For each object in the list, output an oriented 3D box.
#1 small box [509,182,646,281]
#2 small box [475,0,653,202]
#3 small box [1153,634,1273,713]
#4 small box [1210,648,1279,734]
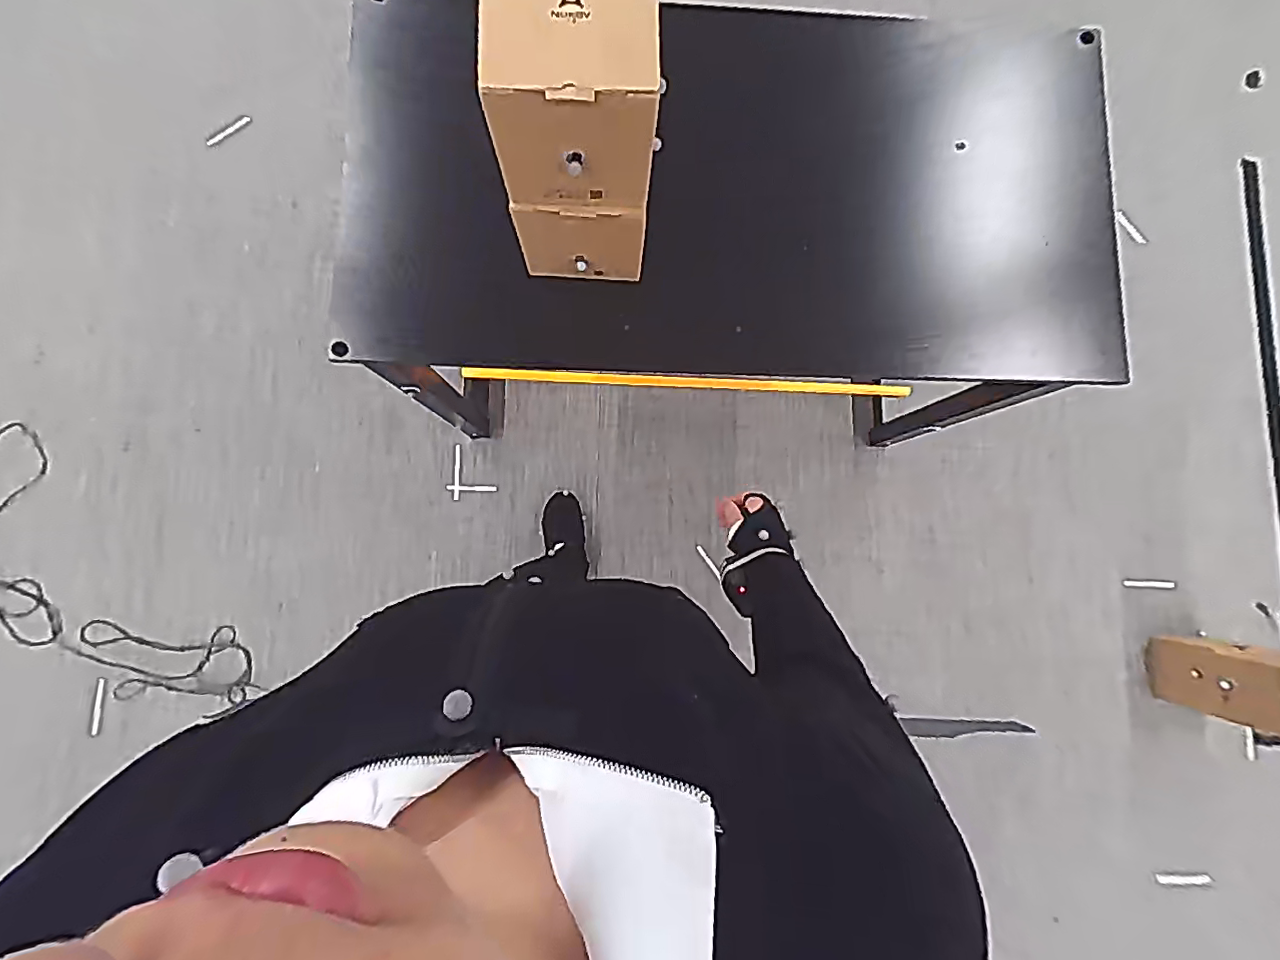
[{"bbox_3d":[-0.077,-0.398,0.740,0.168,0.176,0.179,3,84,-2],"label":"small box"},{"bbox_3d":[-0.071,-0.425,0.578,0.168,0.176,0.179,0,84,-3],"label":"small box"},{"bbox_3d":[1.537,0.515,1.454,0.168,0.176,0.179,0,85,-2],"label":"small box"},{"bbox_3d":[1.542,0.502,1.292,0.179,0.176,0.168,-3,83,-1],"label":"small box"}]
